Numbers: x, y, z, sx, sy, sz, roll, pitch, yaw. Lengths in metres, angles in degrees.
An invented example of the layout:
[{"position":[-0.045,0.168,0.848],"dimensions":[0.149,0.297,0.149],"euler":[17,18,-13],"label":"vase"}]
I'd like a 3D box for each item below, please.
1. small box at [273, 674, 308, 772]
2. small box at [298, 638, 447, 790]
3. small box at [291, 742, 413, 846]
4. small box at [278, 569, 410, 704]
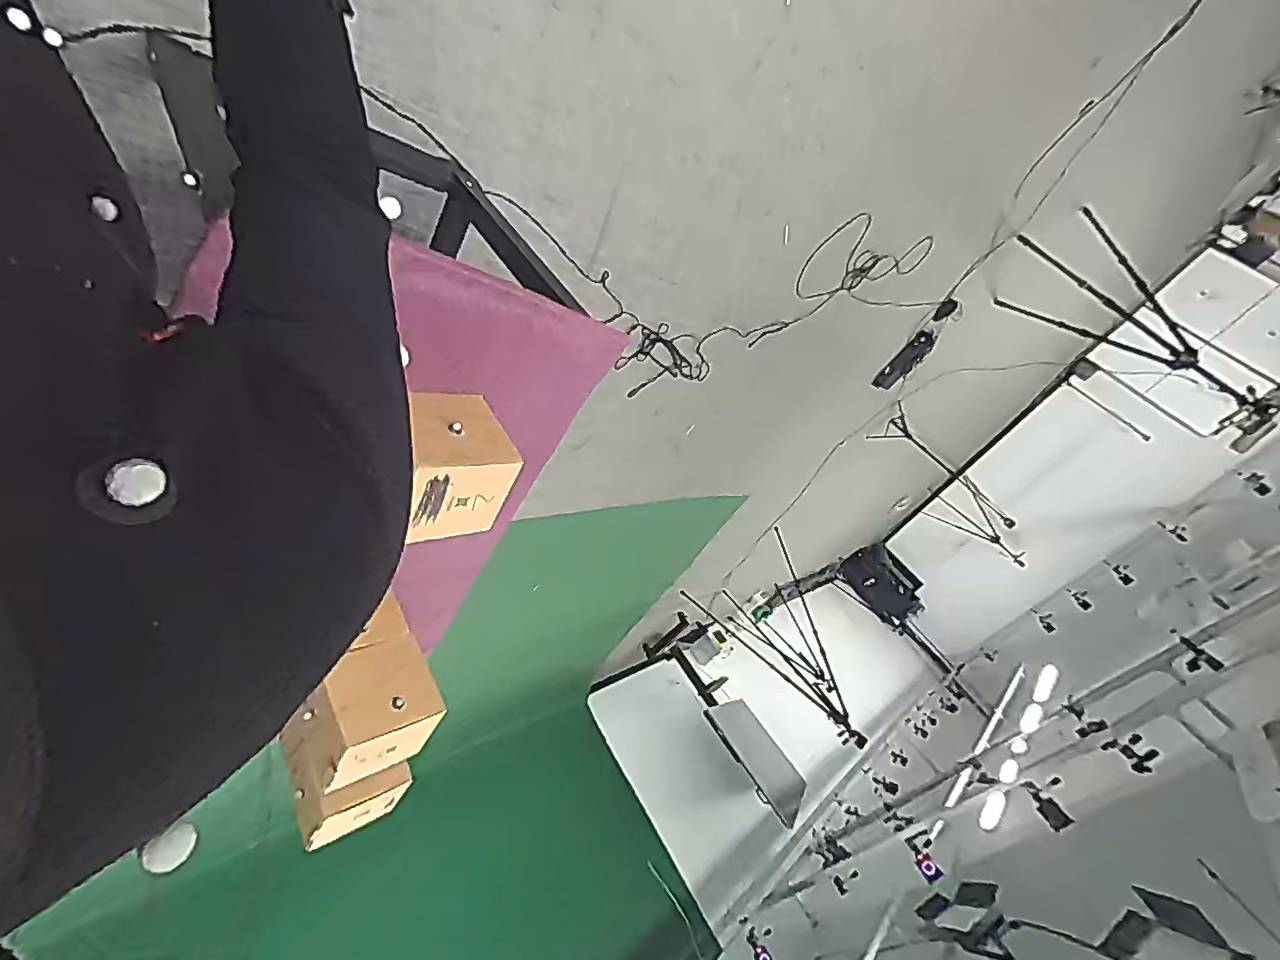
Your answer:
[{"position":[-0.719,0.523,1.244],"dimensions":[0.179,0.176,0.168],"euler":[-3,137,-49],"label":"small box"},{"position":[-0.492,0.416,0.990],"dimensions":[0.179,0.176,0.168],"euler":[-2,136,-49],"label":"small box"},{"position":[-0.627,0.634,1.167],"dimensions":[0.179,0.176,0.168],"euler":[-2,137,-48],"label":"small box"},{"position":[-0.585,0.298,1.059],"dimensions":[0.179,0.176,0.168],"euler":[-6,139,-47],"label":"small box"}]
